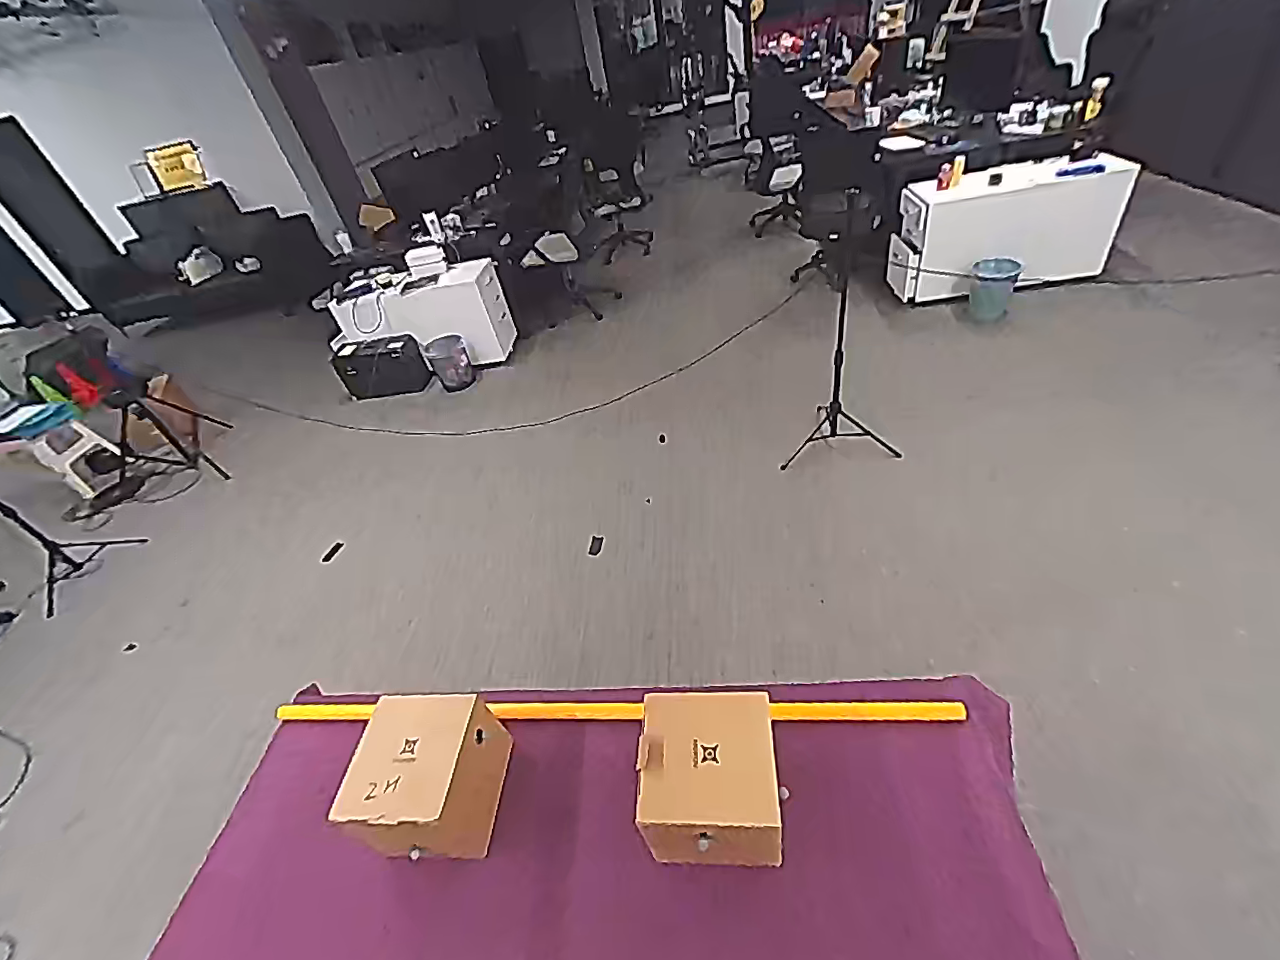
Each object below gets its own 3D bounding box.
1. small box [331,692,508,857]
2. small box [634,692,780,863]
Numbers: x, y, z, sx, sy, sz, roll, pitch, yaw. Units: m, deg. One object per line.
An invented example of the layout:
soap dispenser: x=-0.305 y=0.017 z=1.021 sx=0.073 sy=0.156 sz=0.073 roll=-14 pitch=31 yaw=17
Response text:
small box: x=-0.317 y=0.447 z=0.826 sx=0.168 sy=0.176 sz=0.179 roll=-5 pitch=42 yaw=10
small box: x=0.098 y=0.414 z=0.753 sx=0.179 sy=0.176 sz=0.168 roll=-5 pitch=41 yaw=11
